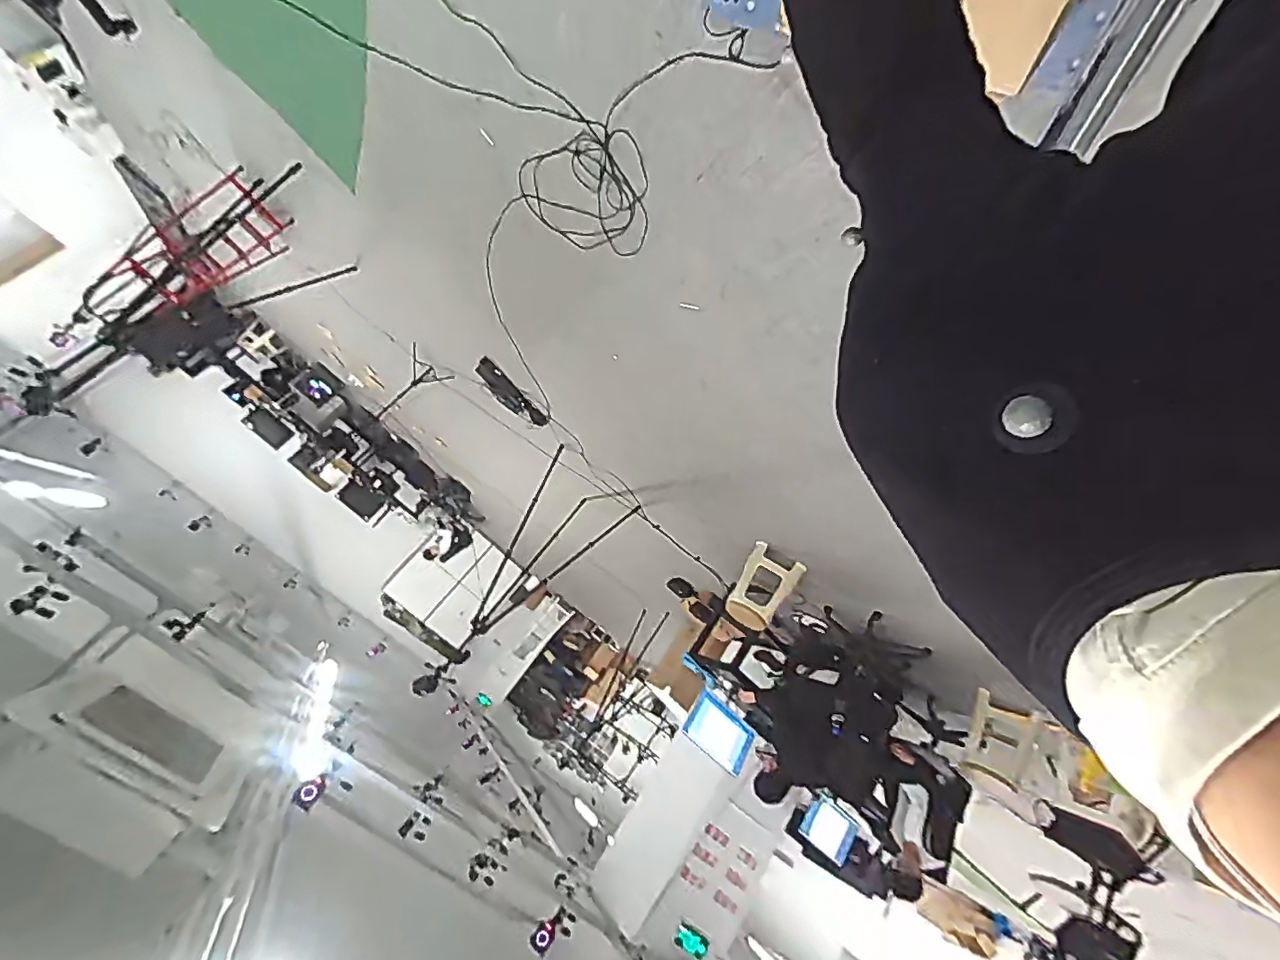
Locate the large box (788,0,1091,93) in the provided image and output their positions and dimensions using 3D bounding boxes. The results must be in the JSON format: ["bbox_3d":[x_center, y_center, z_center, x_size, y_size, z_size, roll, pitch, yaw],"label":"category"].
[{"bbox_3d":[0.496,-0.852,0.794,0.408,0.320,0.320,31,155,18],"label":"large box"}]
